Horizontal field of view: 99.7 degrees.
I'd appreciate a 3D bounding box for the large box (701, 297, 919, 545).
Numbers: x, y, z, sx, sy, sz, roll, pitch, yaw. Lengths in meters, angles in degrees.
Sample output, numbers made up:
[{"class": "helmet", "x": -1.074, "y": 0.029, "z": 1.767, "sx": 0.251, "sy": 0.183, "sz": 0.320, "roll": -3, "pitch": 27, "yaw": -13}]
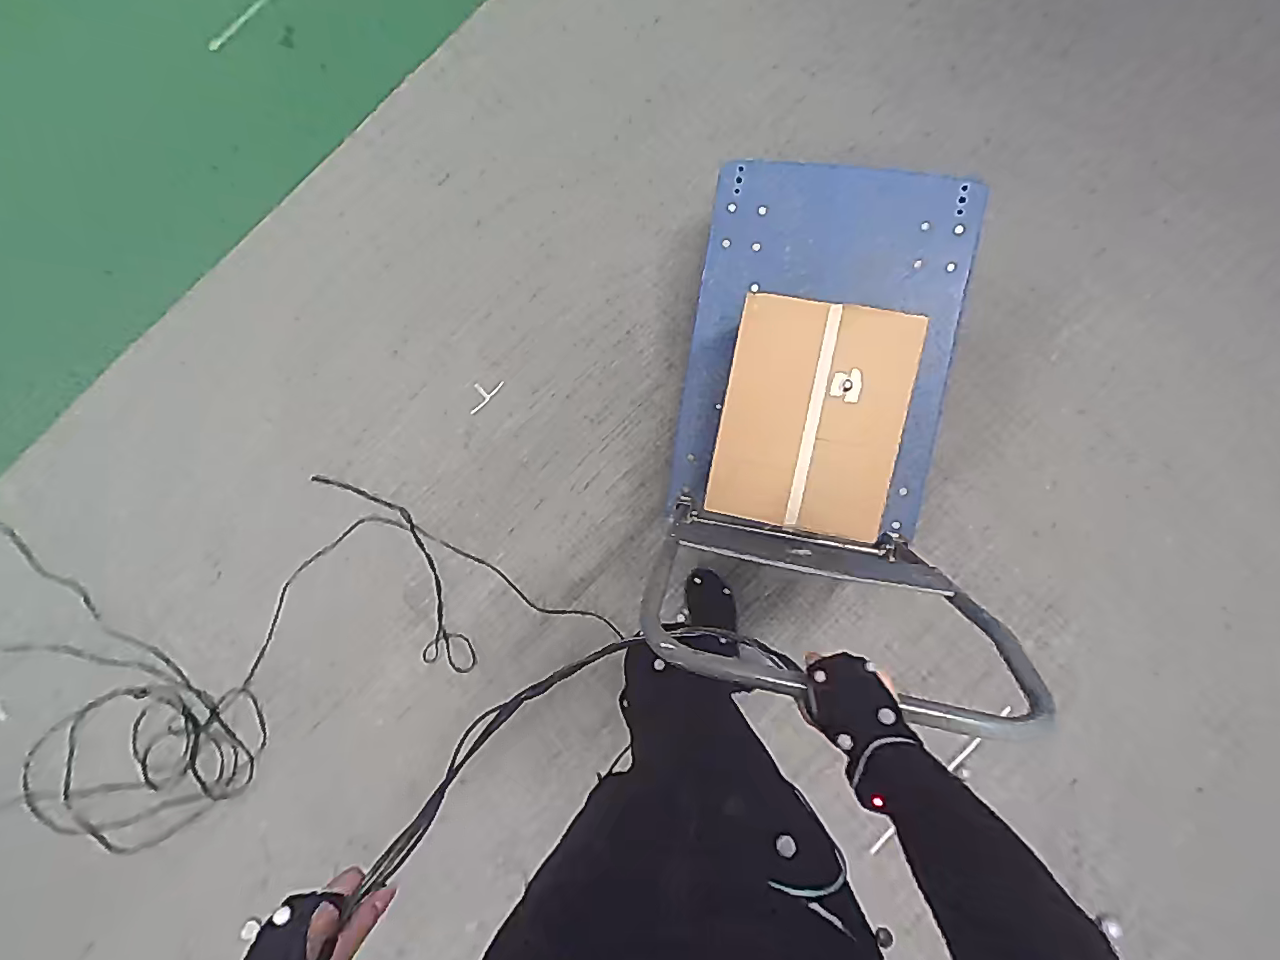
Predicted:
[{"class": "large box", "x": 0.320, "y": -0.115, "z": 1.115, "sx": 0.320, "sy": 0.320, "sz": 0.408, "roll": 13, "pitch": 96, "yaw": 7}]
